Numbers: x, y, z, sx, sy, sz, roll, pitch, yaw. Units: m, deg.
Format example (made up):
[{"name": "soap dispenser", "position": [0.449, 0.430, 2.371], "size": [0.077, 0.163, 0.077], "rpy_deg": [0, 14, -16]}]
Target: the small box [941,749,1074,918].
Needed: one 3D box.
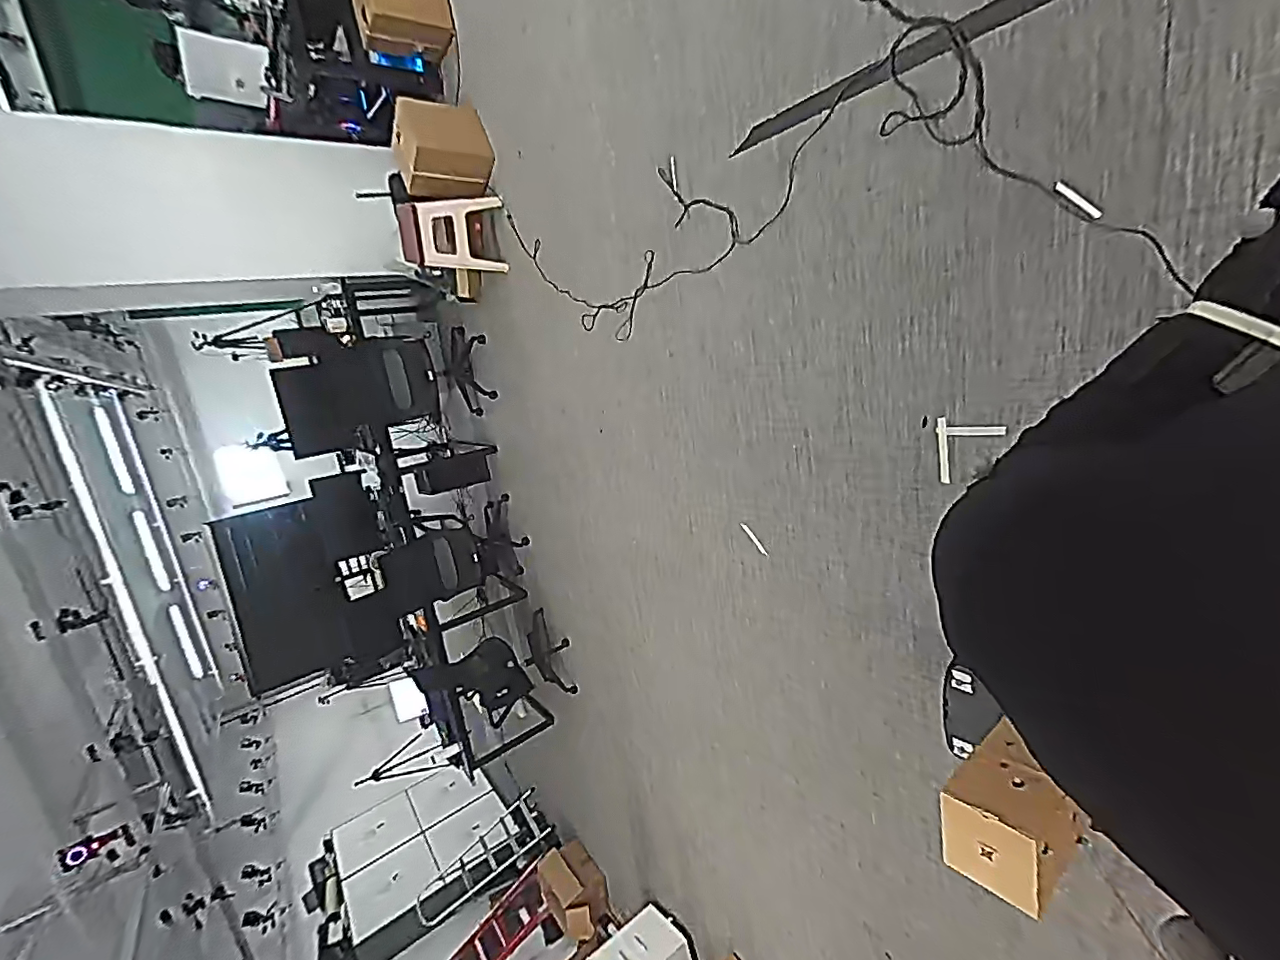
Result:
[{"name": "small box", "position": [0.712, 0.668, 1.046], "size": [0.168, 0.176, 0.179], "rpy_deg": [7, 109, 55]}]

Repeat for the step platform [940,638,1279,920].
[{"name": "step platform", "position": [1.031, 0.605, 1.167], "size": [0.684, 0.204, 0.286], "rpy_deg": [9, 112, 53]}]
